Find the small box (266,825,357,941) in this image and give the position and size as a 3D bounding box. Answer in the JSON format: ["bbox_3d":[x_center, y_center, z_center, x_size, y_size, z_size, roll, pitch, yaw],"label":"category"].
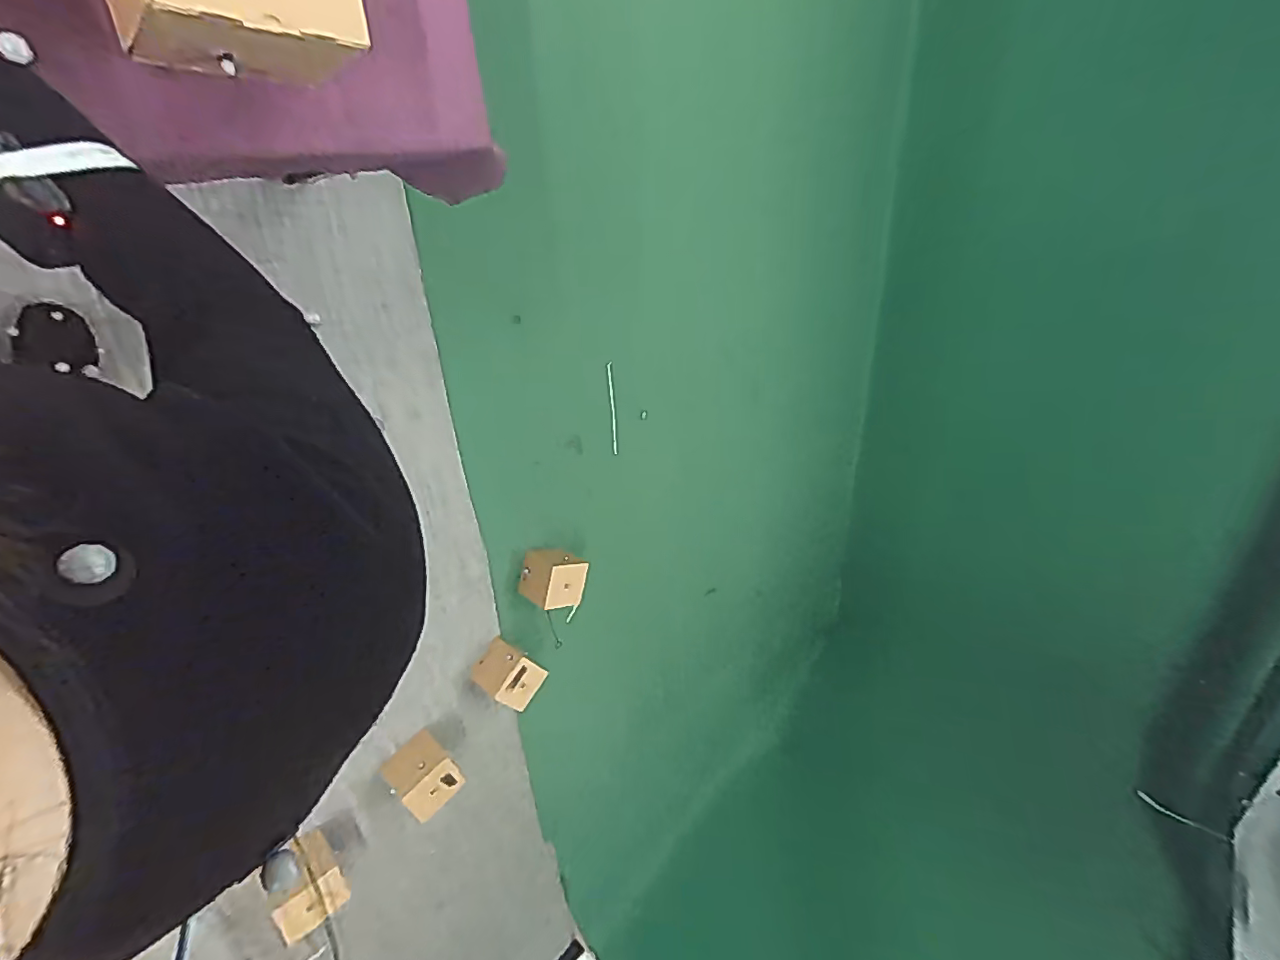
[{"bbox_3d":[-0.977,1.182,1.598,0.179,0.176,0.168,-26,124,-40],"label":"small box"}]

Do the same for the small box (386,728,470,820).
[{"bbox_3d":[-0.711,0.976,1.812,0.179,0.176,0.168,-38,130,-32],"label":"small box"}]

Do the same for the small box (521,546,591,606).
[{"bbox_3d":[-0.313,0.352,2.011,0.179,0.176,0.168,4,102,-49],"label":"small box"}]

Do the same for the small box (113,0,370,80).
[{"bbox_3d":[-0.374,-0.490,0.480,0.168,0.176,0.179,-24,123,-40],"label":"small box"}]
